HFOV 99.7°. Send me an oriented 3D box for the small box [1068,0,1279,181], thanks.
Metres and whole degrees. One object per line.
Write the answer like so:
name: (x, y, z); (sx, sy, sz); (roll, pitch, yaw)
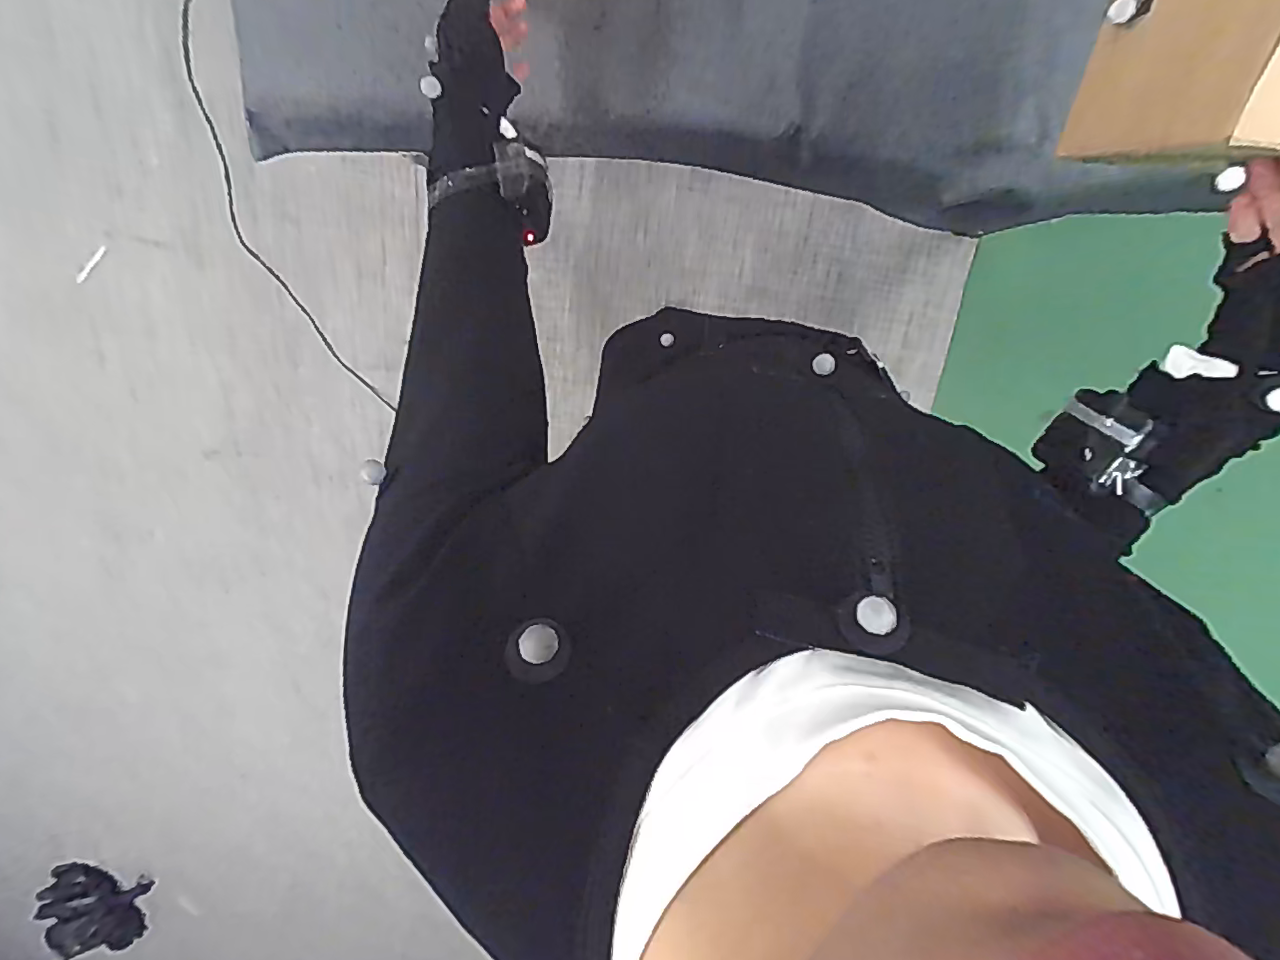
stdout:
small box: (0.412, -0.283, 0.324); (0.168, 0.176, 0.179); (6, 119, 3)
